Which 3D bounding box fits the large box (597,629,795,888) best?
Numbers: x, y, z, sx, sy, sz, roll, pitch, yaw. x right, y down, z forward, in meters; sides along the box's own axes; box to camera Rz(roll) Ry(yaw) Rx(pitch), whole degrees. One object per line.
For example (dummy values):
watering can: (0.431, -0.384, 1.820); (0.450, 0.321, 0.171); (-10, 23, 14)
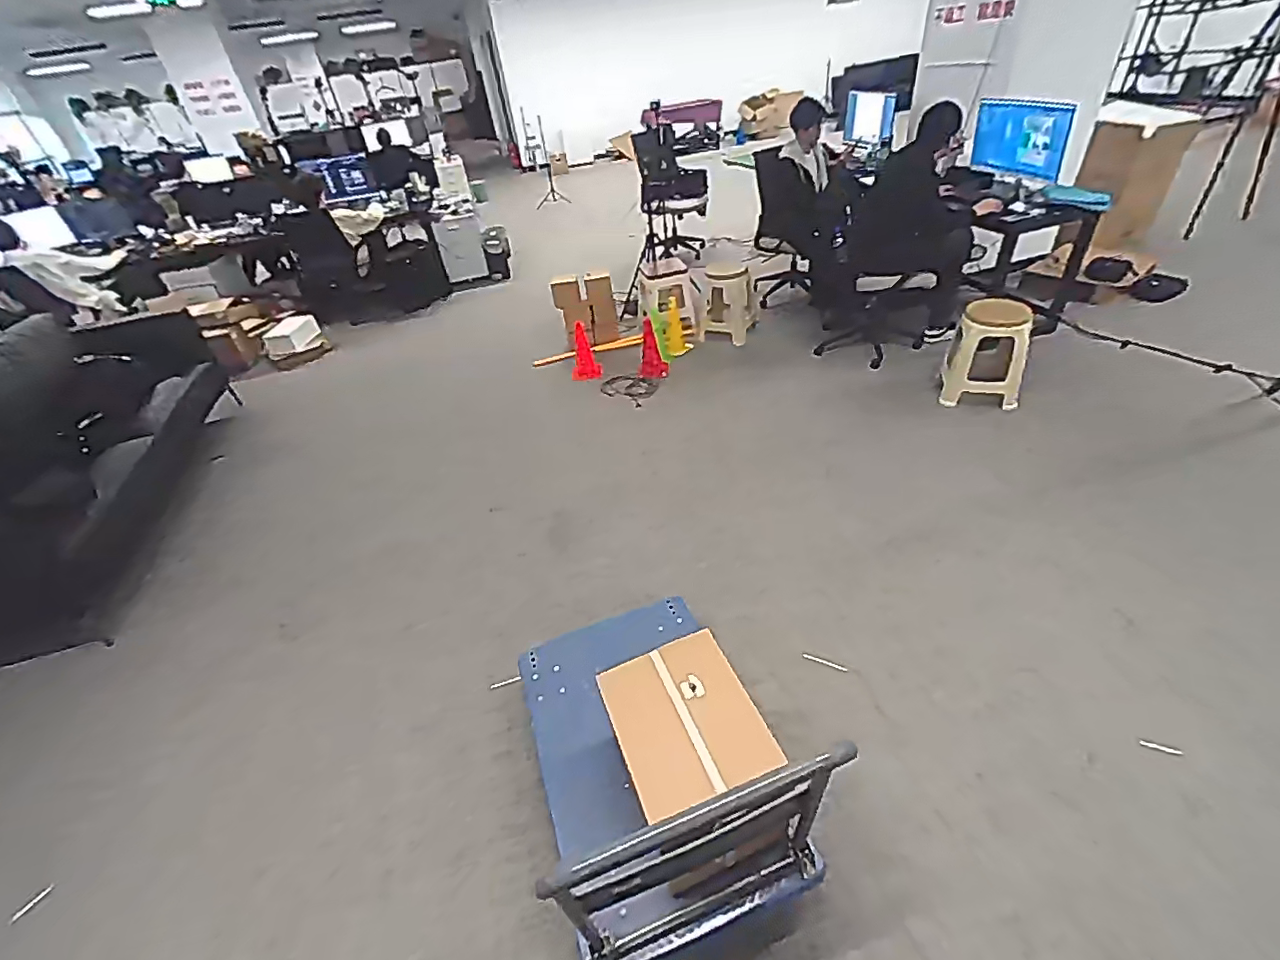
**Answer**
large box: (0.126, 0.656, 1.309); (0.320, 0.320, 0.408); (-19, 39, -13)
